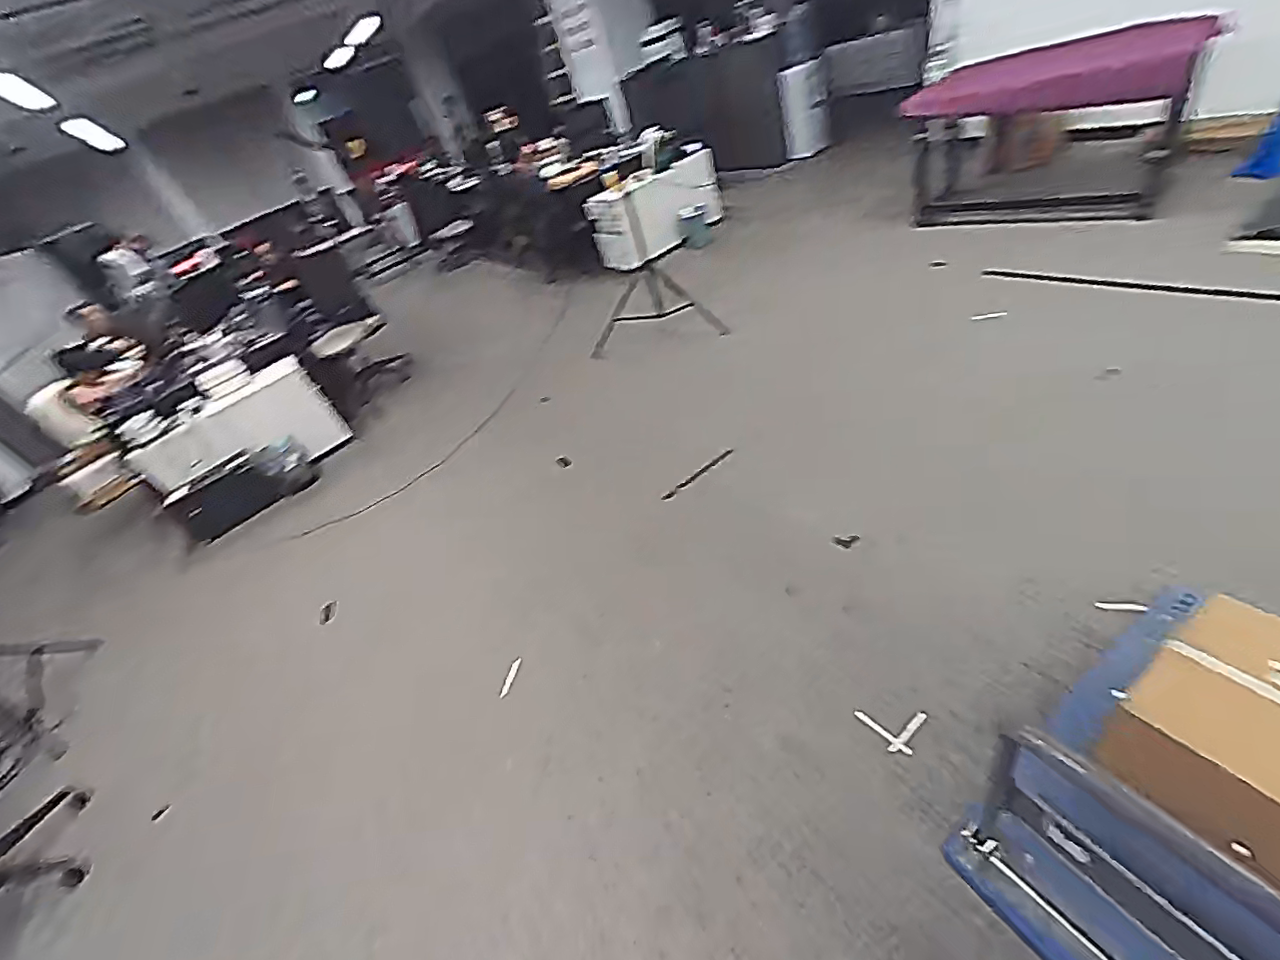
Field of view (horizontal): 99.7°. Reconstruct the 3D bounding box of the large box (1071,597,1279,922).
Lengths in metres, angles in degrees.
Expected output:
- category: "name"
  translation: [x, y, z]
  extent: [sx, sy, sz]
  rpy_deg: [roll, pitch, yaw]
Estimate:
- category: "large box"
  translation: [1.053, 0.485, 0.906]
  extent: [0.320, 0.320, 0.408]
  rpy_deg: [-35, 38, -16]
